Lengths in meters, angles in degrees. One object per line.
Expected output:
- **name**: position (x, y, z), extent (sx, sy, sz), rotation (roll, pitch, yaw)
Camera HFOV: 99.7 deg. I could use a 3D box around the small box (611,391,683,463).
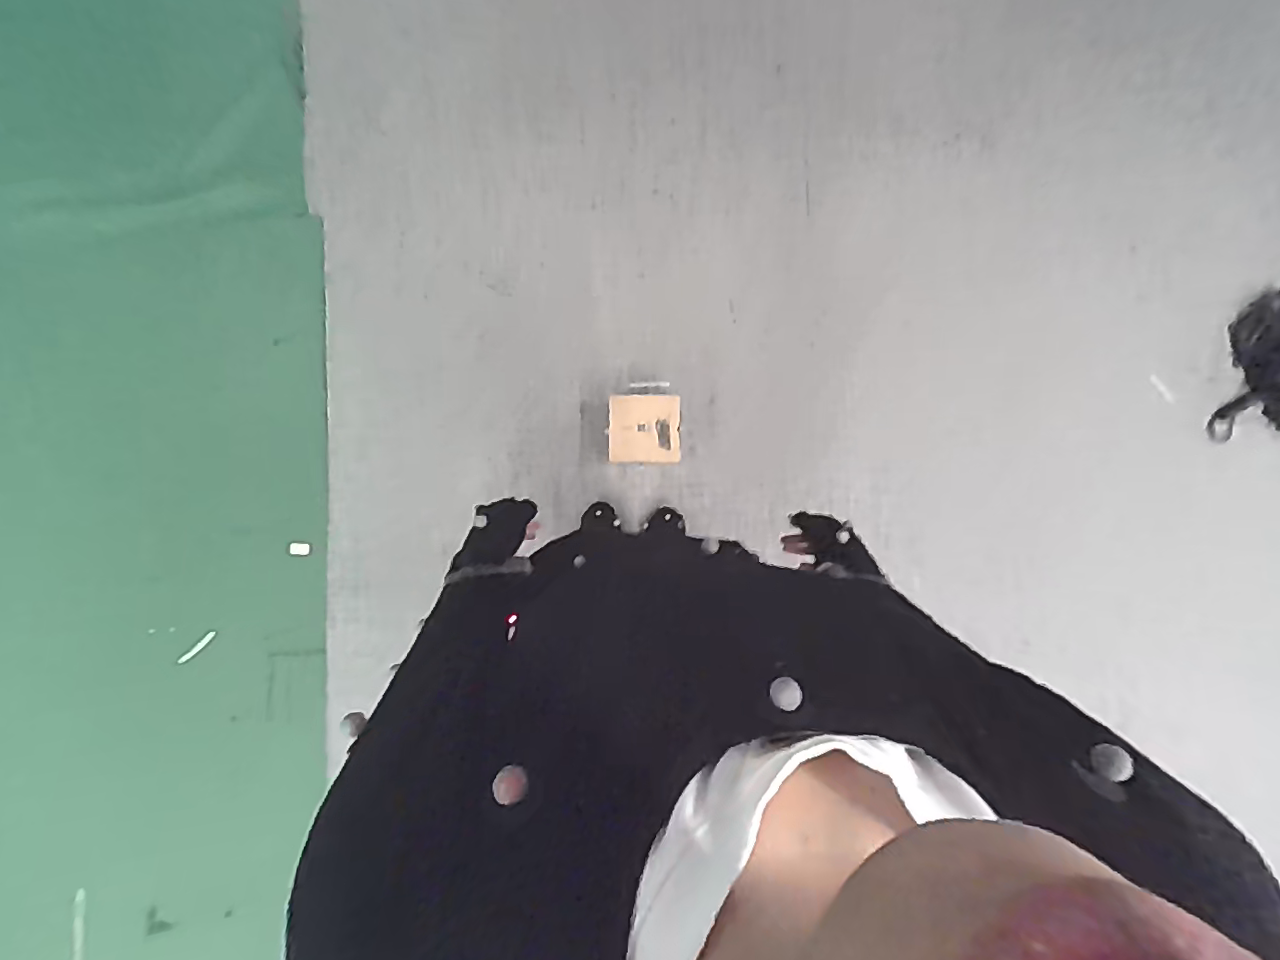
- **small box**: position (0.017, -0.133, 1.400), extent (0.179, 0.176, 0.168), rotation (1, 88, 1)
